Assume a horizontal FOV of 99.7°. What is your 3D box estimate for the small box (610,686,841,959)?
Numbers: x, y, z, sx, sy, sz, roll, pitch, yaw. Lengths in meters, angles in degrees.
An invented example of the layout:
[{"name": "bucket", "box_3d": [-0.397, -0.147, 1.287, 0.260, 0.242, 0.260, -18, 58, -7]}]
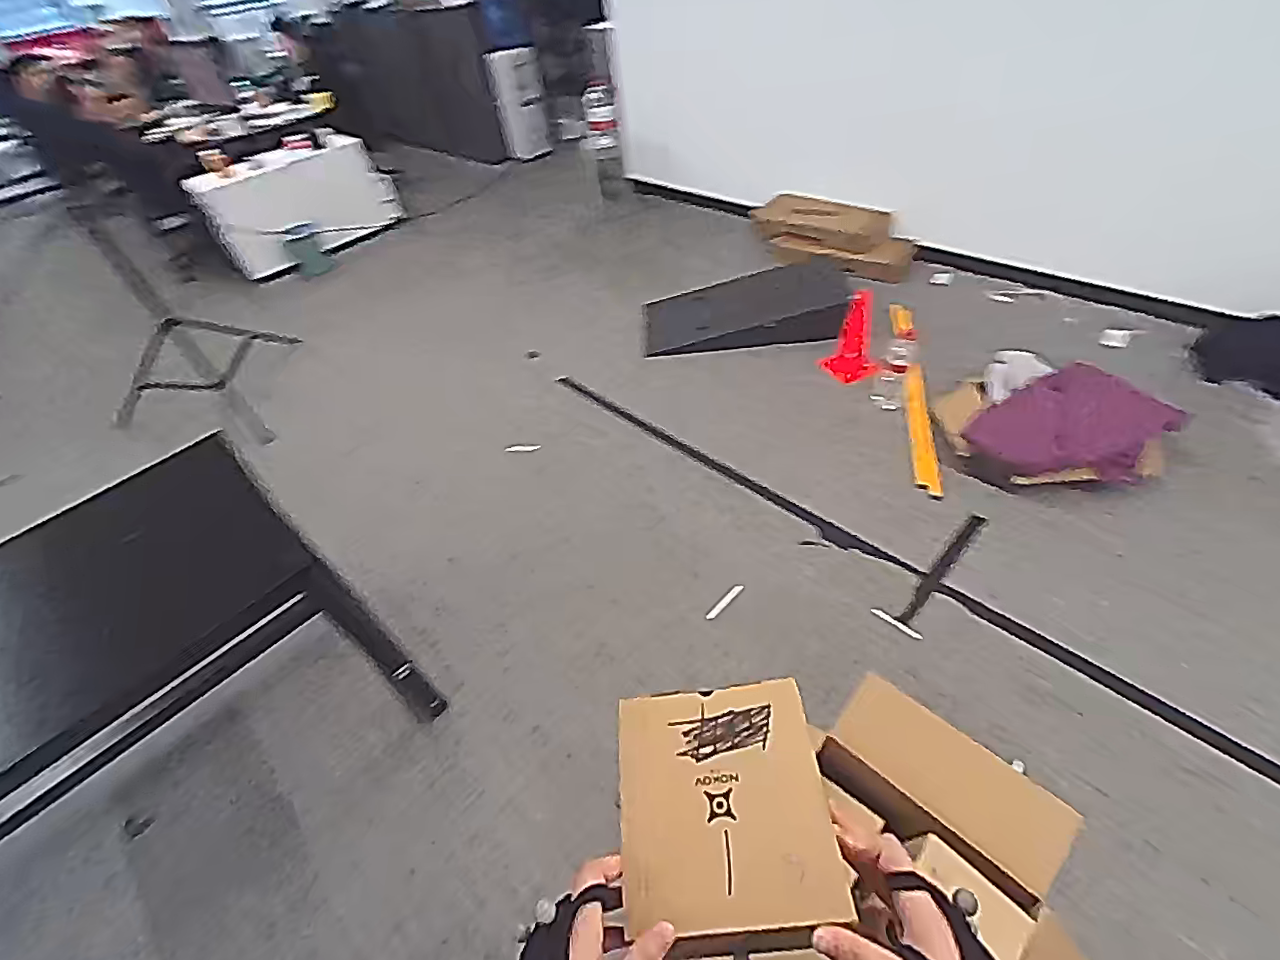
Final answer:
[{"name": "small box", "box_3d": [0.070, 0.317, 0.496, 0.168, 0.176, 0.179, -11, 45, 5]}]
